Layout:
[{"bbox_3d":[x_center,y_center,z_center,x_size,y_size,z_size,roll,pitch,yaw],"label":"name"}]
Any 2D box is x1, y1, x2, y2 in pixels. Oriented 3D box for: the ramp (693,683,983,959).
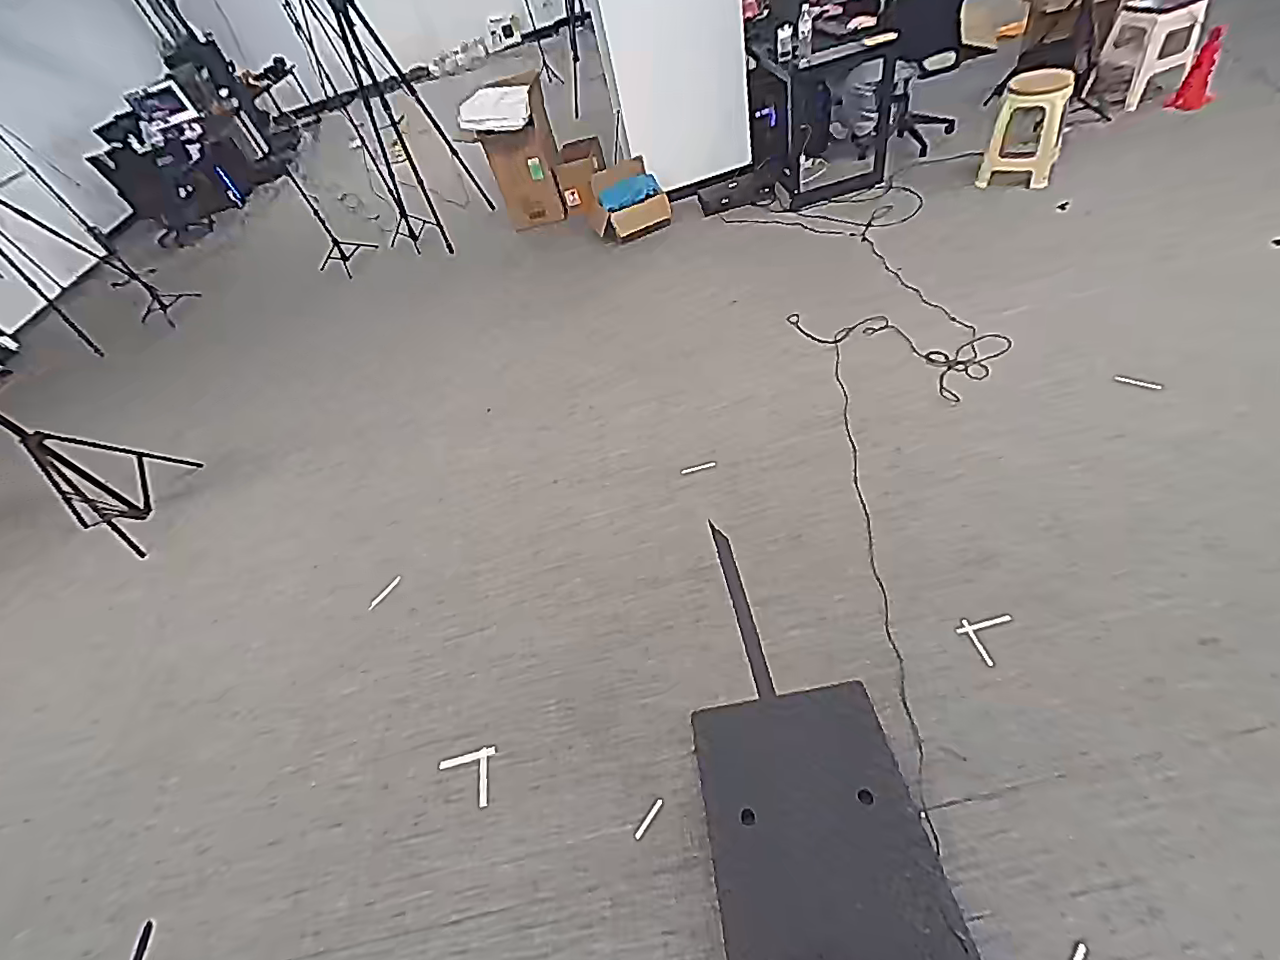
[{"bbox_3d":[0.417,0.925,1.137,0.509,0.206,0.991,-16,47,5],"label":"ramp"}]
